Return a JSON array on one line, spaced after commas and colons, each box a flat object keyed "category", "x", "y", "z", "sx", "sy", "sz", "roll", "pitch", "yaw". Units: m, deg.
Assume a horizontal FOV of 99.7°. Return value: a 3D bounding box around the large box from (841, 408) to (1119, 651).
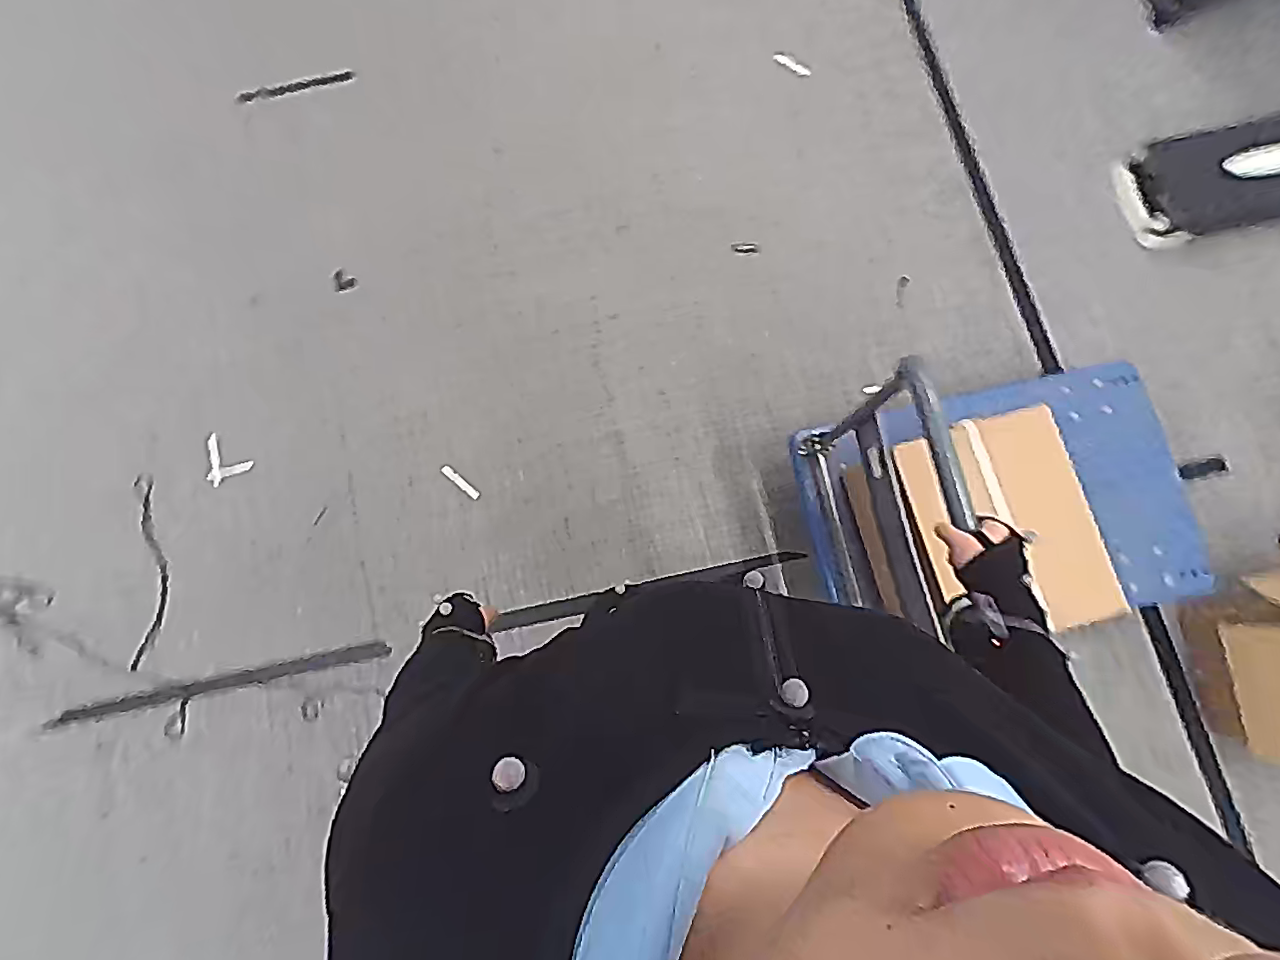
[{"category": "large box", "x": 0.687, "y": 0.105, "z": 1.167, "sx": 0.320, "sy": 0.320, "sz": 0.408, "roll": -15, "pitch": 82, "yaw": 1}]
